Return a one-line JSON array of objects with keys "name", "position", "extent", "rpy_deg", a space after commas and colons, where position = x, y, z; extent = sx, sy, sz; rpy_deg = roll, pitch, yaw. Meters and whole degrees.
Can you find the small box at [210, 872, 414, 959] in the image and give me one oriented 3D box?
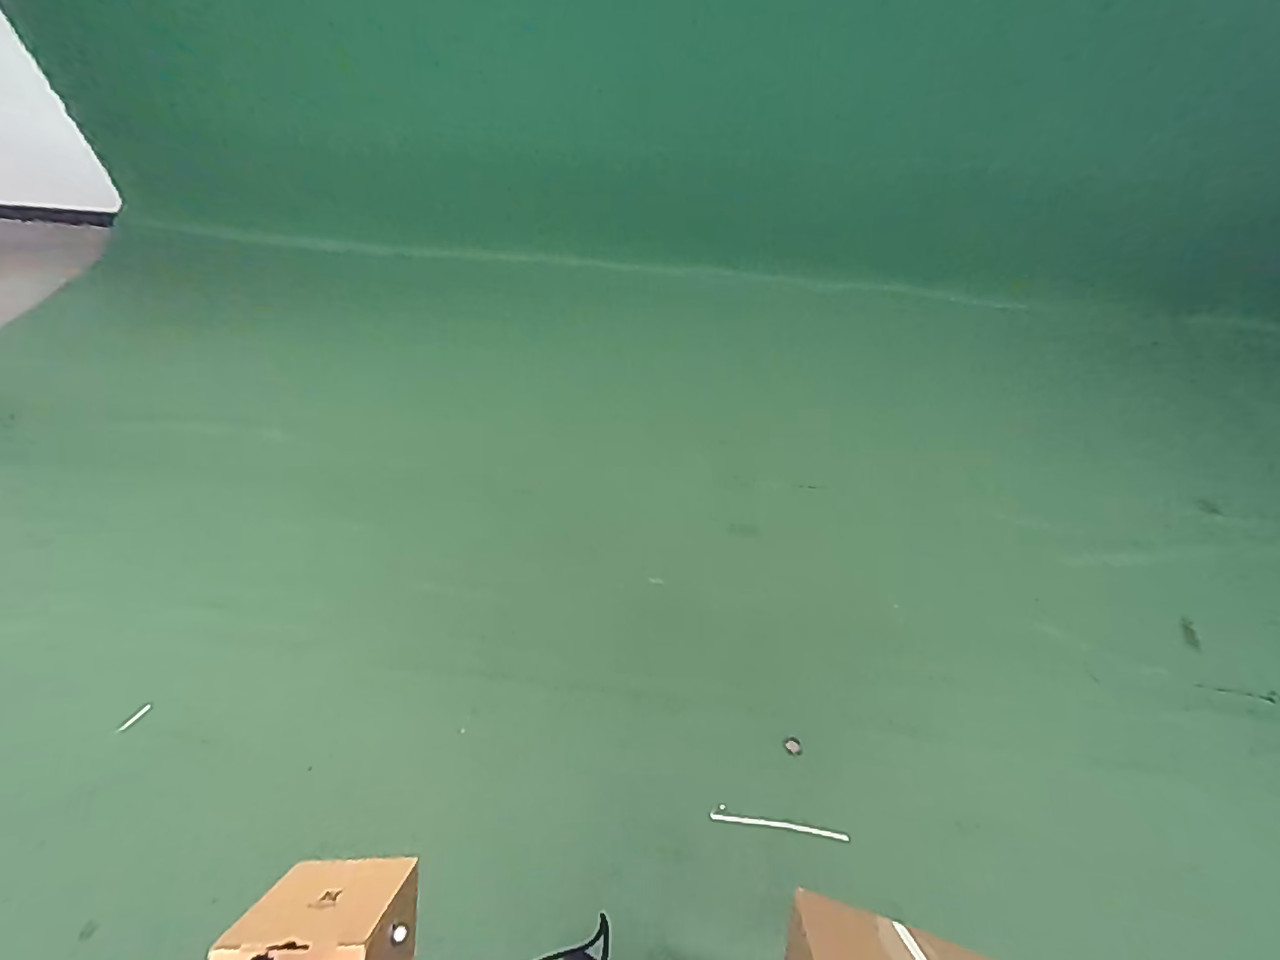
[{"name": "small box", "position": [-0.392, 0.615, 0.655], "extent": [0.168, 0.179, 0.176], "rpy_deg": [0, 81, -4]}]
